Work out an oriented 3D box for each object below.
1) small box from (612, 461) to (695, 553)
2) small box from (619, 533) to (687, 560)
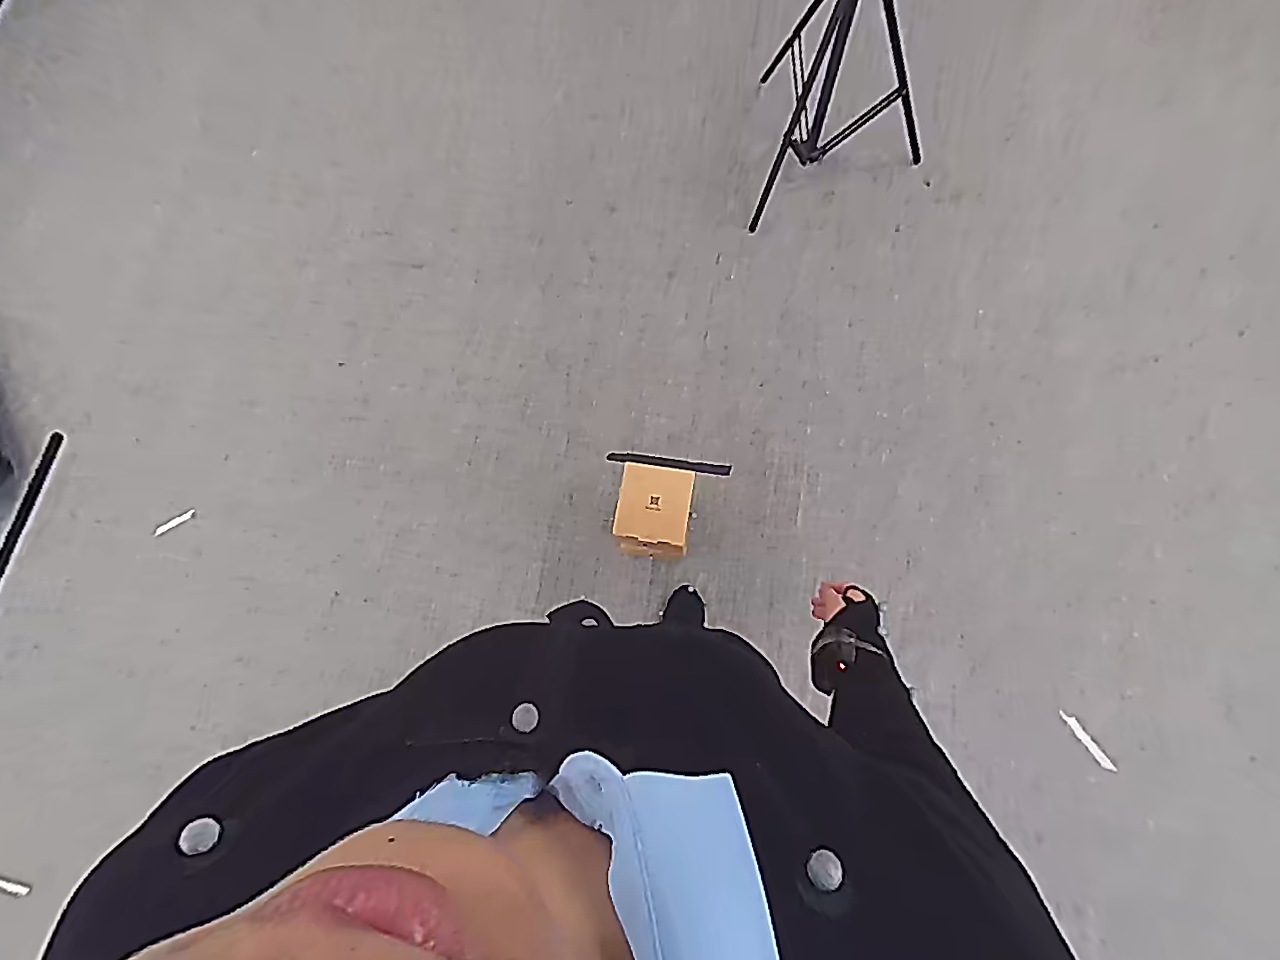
[{"bbox_3d":[0.037,0.070,1.298,0.168,0.176,0.179,9,78,7],"label":"small box"},{"bbox_3d":[0.045,0.117,1.454,0.168,0.176,0.179,7,76,6],"label":"small box"}]
